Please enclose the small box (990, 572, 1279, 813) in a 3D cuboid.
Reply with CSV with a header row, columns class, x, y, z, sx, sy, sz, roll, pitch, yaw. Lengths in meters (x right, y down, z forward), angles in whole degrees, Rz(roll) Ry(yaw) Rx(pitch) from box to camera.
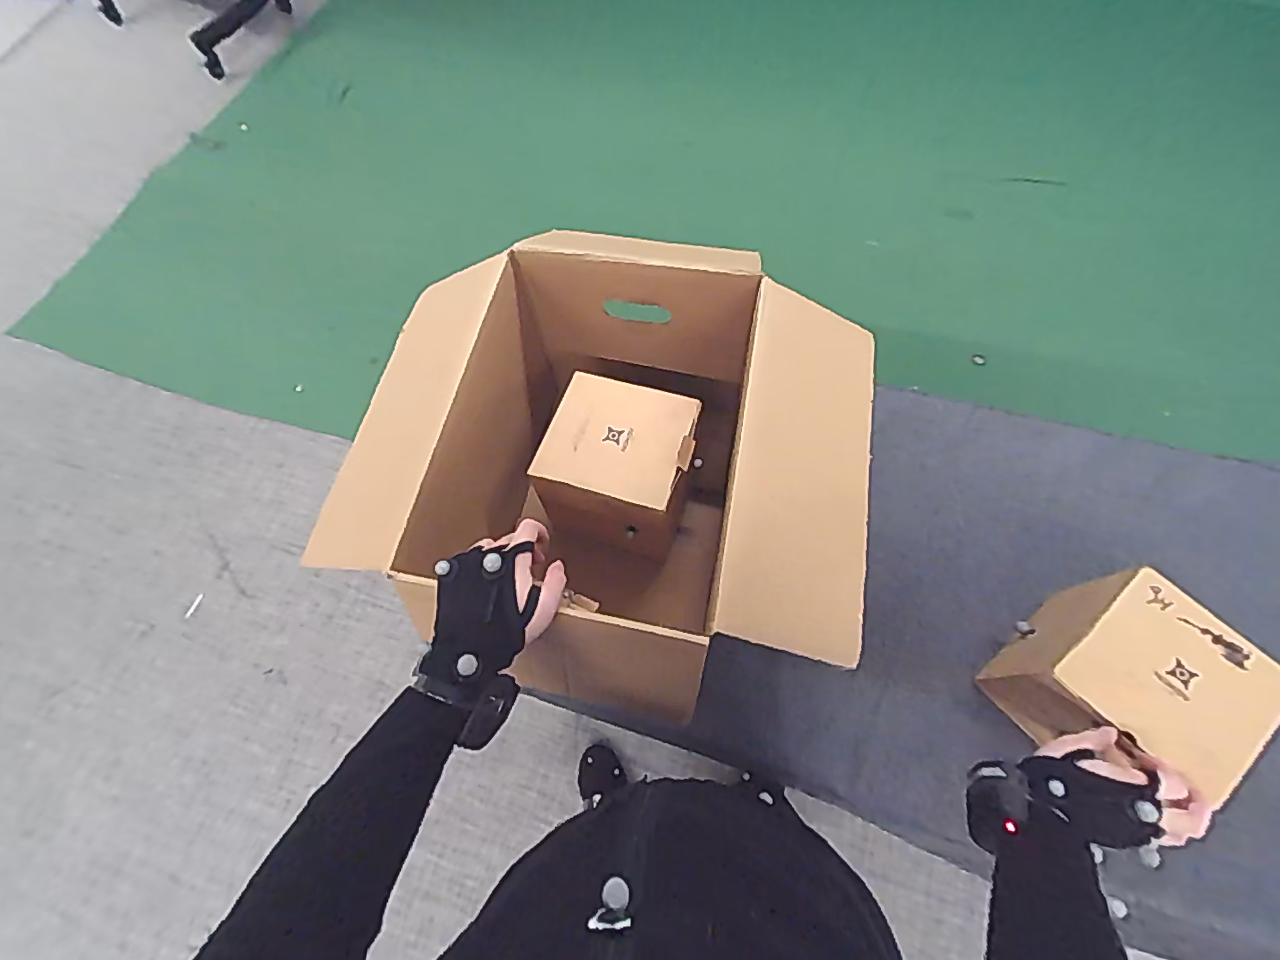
class,x,y,z,sx,sy,sz,roll,pitch,yaw
small box,0.549,0.240,0.623,0.179,0.176,0.168,-38,69,-11
